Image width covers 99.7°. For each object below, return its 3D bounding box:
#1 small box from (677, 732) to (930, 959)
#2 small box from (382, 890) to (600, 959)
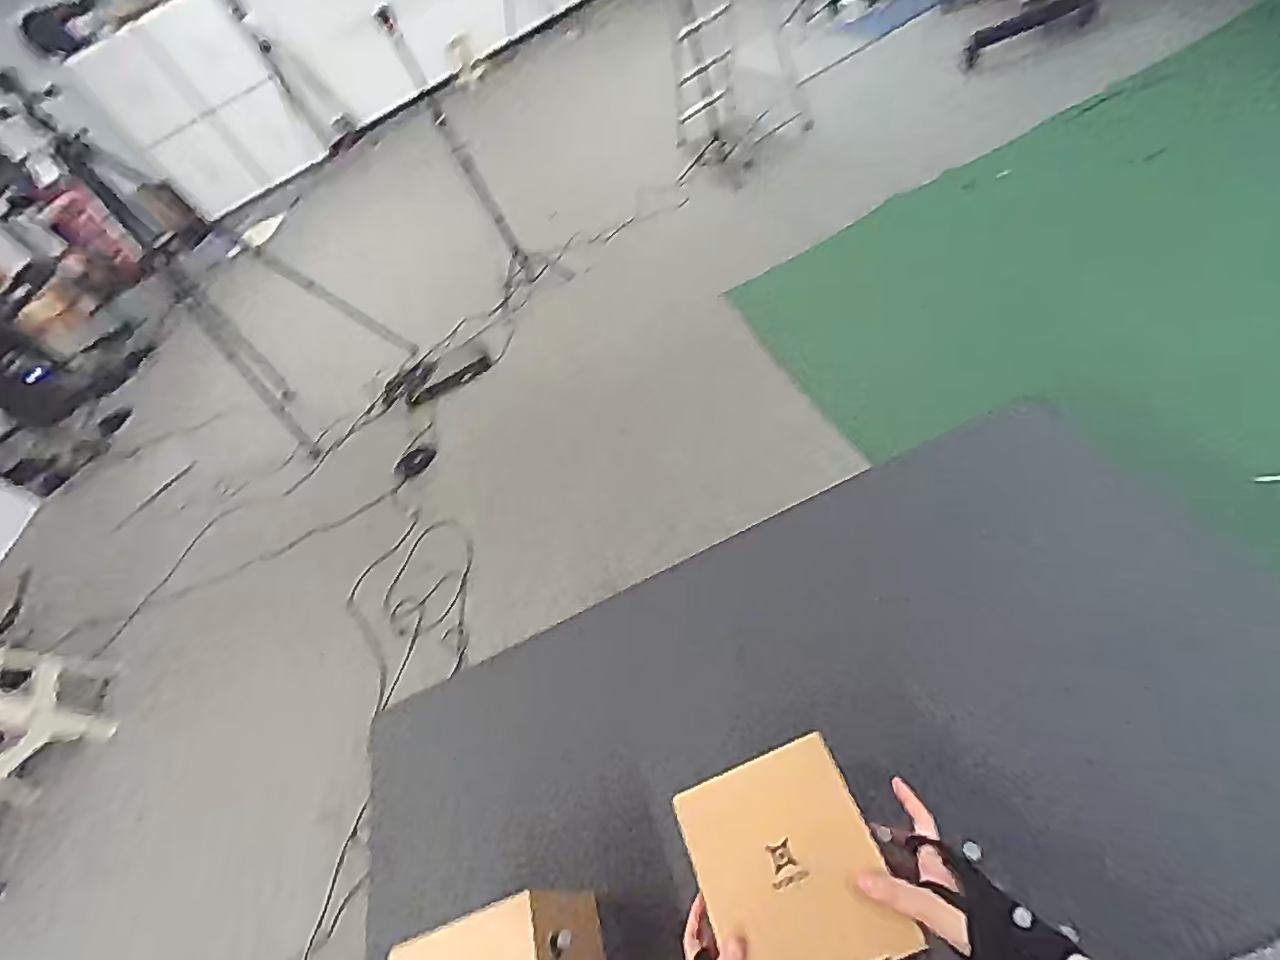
[{"bbox_3d":[0.157,0.392,0.547,0.168,0.176,0.179,-26,49,2],"label":"small box"},{"bbox_3d":[-0.137,0.548,0.542,0.168,0.176,0.179,-25,48,3],"label":"small box"}]
